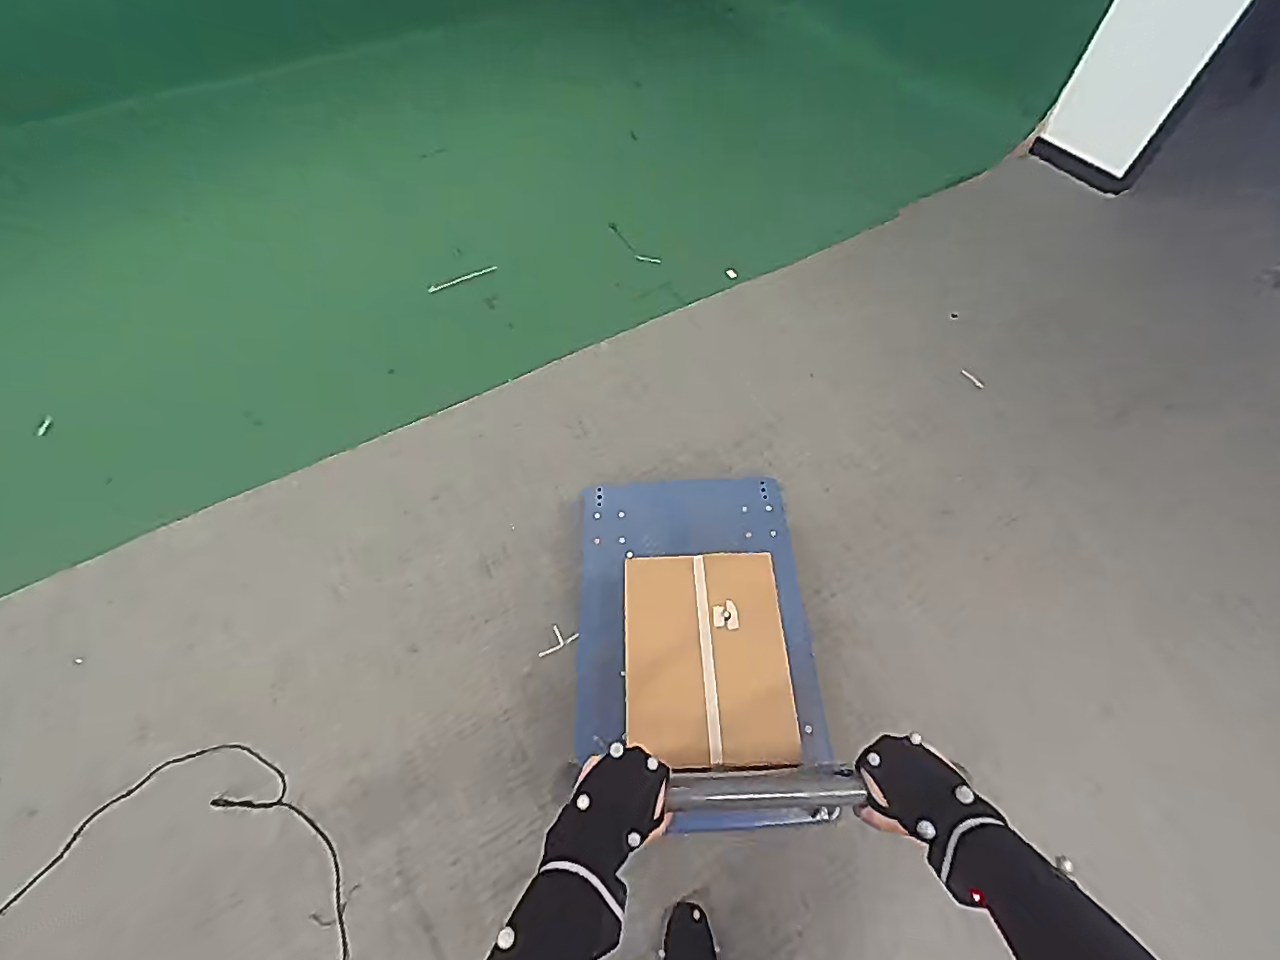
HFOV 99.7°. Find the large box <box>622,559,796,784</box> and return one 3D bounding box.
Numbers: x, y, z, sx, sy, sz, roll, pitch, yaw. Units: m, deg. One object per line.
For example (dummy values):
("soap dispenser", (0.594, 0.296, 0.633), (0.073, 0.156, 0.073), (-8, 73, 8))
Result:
("large box", (0.127, 0.427, 1.194), (0.320, 0.320, 0.408), (-2, 57, 0))
